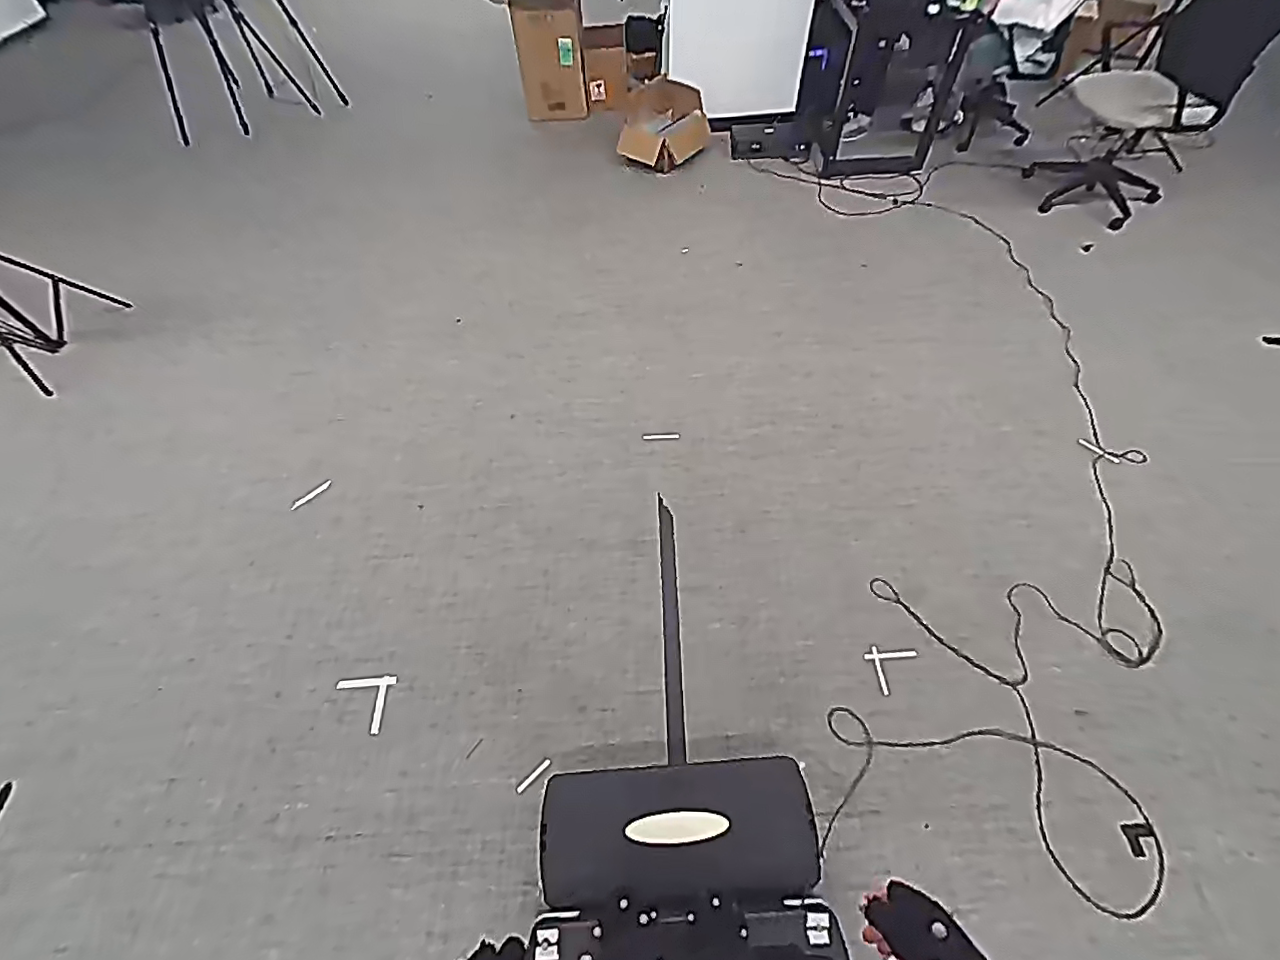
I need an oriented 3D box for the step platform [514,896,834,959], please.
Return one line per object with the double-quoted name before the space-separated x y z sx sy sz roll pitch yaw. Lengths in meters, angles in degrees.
"step platform" 0.073 1.078 1.134 0.684 0.204 0.286 -5 55 1
